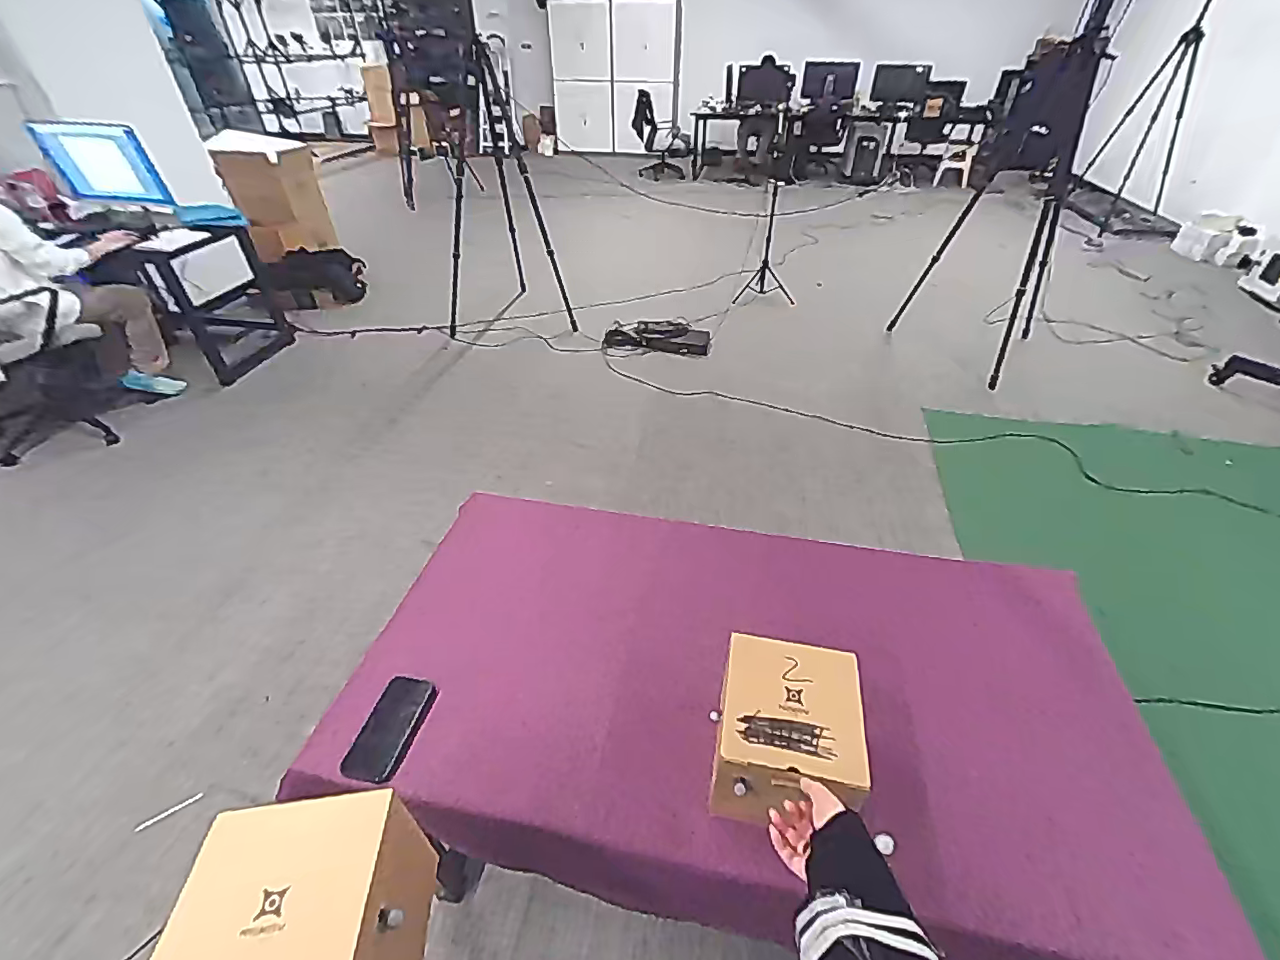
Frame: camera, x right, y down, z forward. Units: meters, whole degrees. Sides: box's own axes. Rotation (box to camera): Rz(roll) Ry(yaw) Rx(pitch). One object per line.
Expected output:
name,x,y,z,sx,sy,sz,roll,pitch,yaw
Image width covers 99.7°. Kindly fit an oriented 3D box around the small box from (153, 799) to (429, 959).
small box,-0.310,0.435,0.504,0.168,0.176,0.179,-6,37,-4
